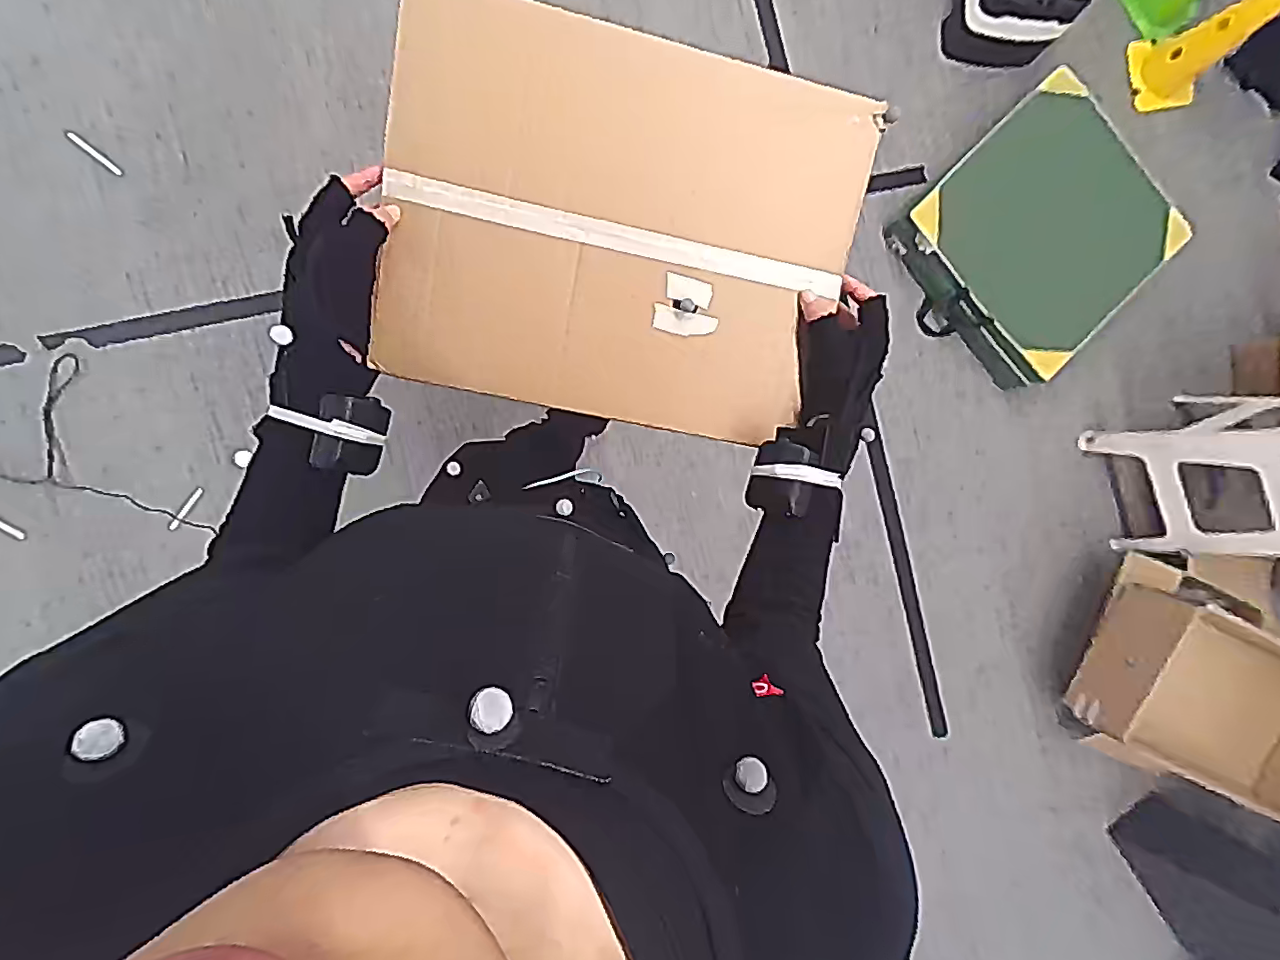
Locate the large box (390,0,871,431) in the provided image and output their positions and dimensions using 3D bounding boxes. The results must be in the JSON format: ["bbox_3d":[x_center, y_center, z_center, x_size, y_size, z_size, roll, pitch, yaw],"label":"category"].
[{"bbox_3d":[-0.027,-0.259,0.636,0.408,0.320,0.320,10,103,-8],"label":"large box"}]
